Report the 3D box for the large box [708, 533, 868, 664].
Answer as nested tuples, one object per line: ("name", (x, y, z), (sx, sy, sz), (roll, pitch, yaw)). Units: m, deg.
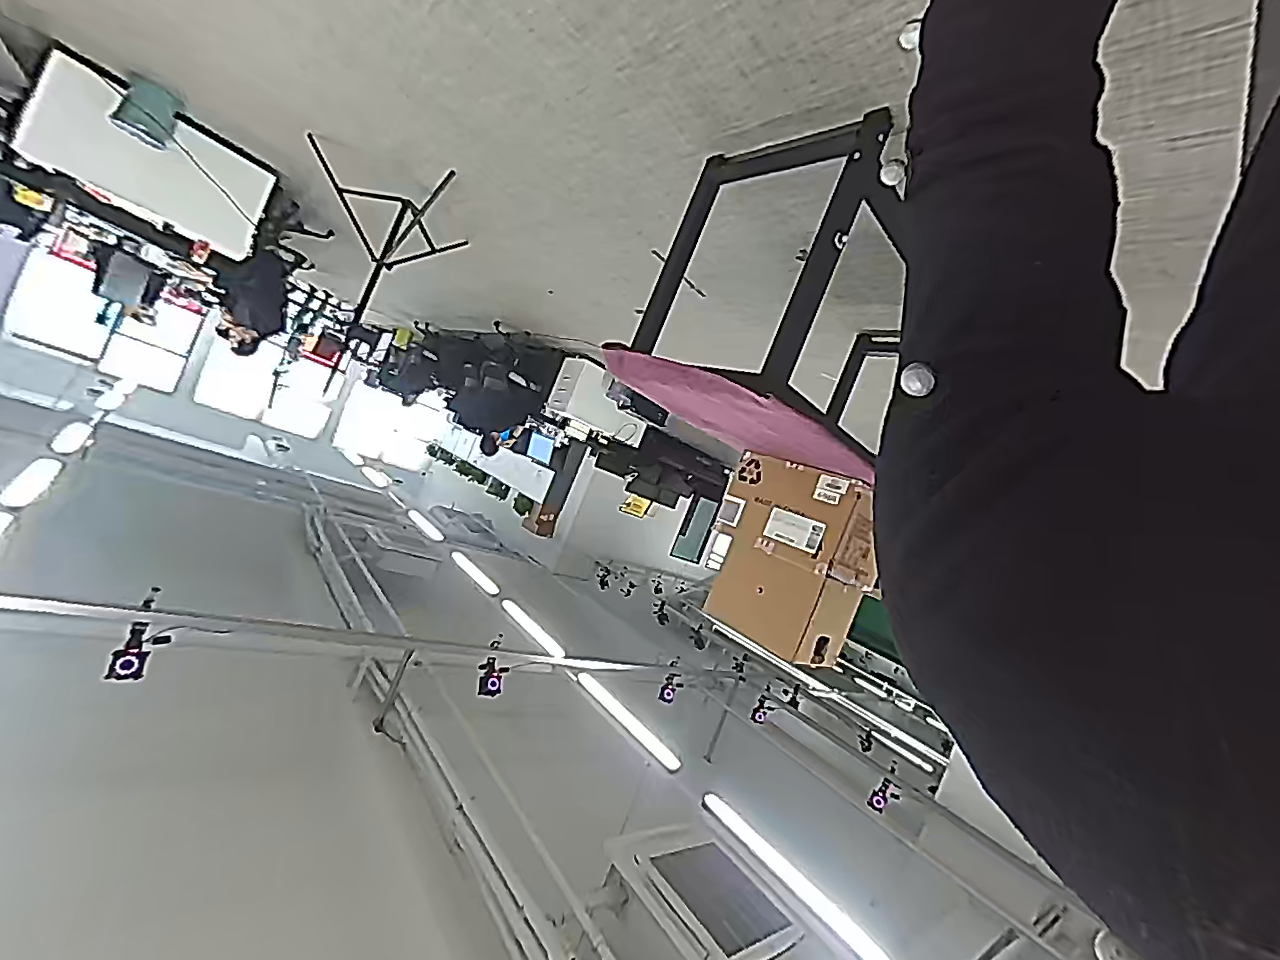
("large box", (0.527, 0.416, 1.945), (0.320, 0.320, 0.408), (21, 180, -41))
